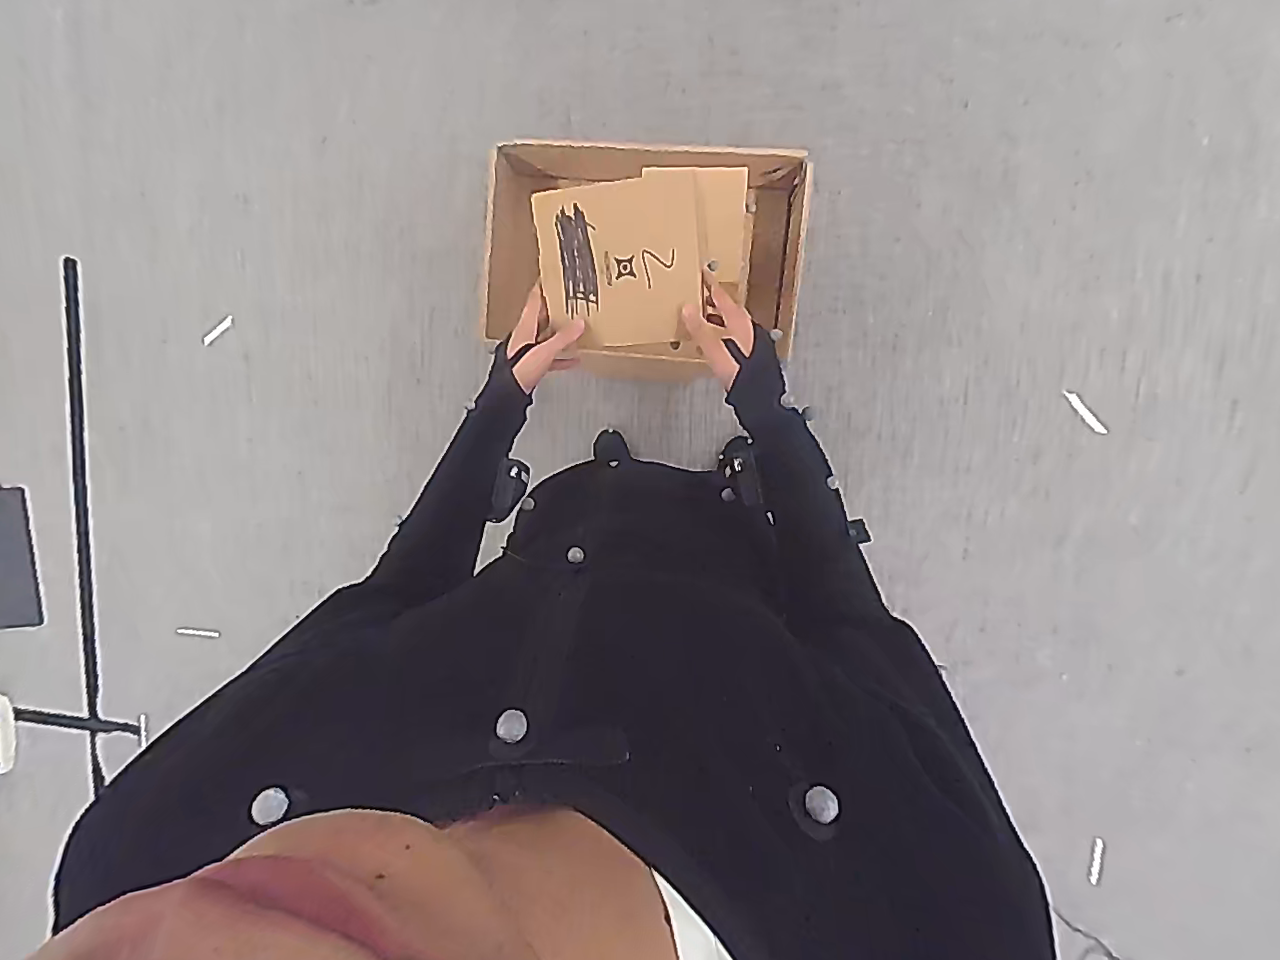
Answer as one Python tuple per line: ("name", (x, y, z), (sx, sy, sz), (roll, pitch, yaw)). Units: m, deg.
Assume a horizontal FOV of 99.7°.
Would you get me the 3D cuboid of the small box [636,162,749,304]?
("small box", (0.089, -0.411, 0.919), (0.168, 0.176, 0.179), (4, 97, 7))
